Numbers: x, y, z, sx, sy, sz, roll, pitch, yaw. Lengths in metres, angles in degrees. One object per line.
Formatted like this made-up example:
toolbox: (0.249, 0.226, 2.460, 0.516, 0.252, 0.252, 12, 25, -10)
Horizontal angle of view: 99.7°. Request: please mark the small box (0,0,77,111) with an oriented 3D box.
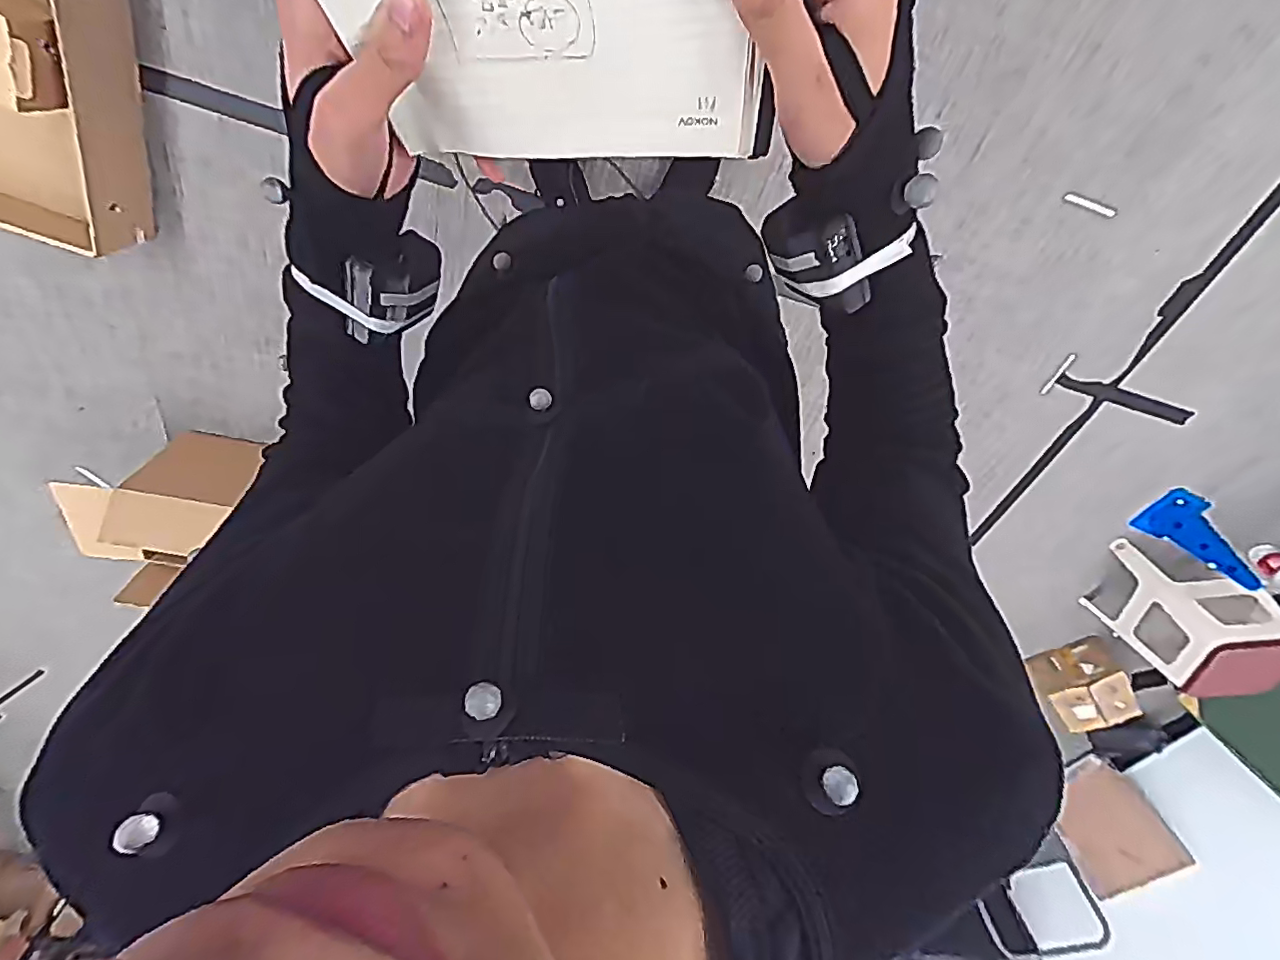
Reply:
small box: (-1.248, -0.857, 1.043, 0.179, 0.176, 0.168, 25, 124, -19)
